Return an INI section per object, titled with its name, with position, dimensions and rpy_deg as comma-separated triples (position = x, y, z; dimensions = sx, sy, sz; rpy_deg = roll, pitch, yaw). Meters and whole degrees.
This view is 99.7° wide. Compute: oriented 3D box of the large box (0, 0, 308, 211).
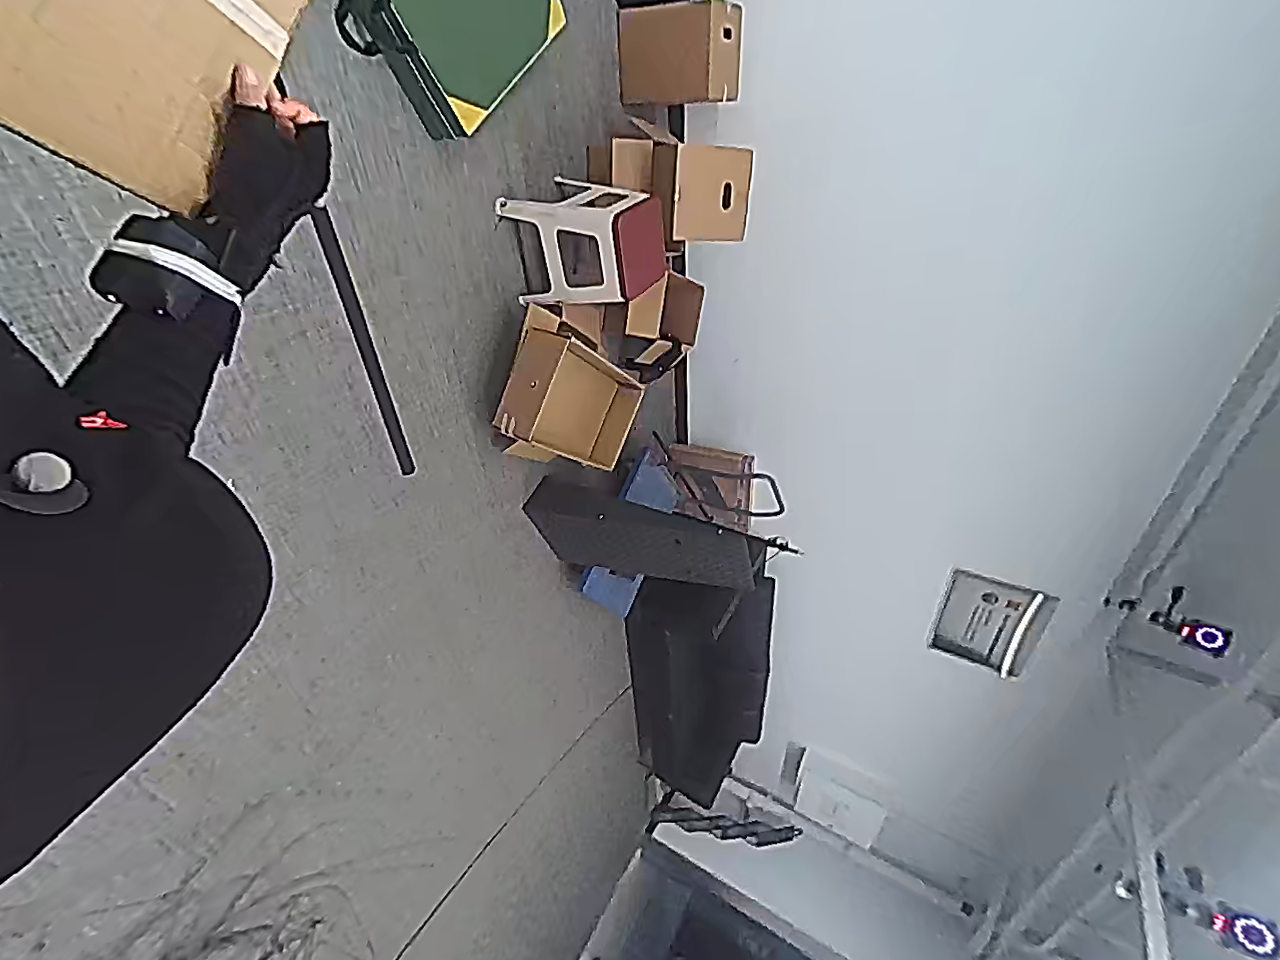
[large box]
position = -0.493, -0.453, 0.338
dimensions = 0.320, 0.320, 0.408
rpy_deg = -61, 151, 3
